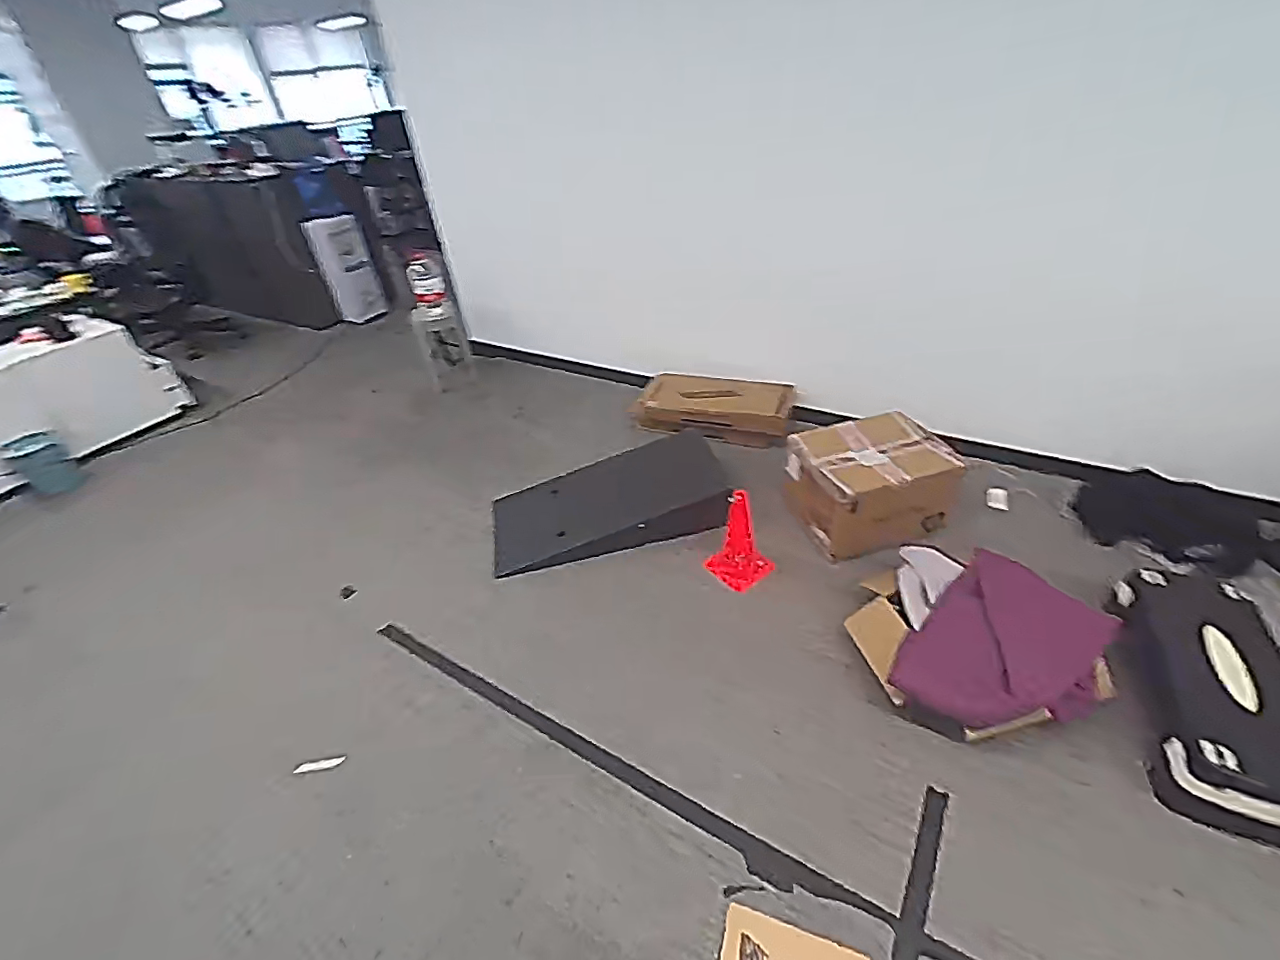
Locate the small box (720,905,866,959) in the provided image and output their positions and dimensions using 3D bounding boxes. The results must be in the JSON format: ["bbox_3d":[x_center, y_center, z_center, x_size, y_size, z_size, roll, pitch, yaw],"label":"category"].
[{"bbox_3d":[0.179,0.676,0.663,0.179,0.176,0.168,9,39,20],"label":"small box"}]
